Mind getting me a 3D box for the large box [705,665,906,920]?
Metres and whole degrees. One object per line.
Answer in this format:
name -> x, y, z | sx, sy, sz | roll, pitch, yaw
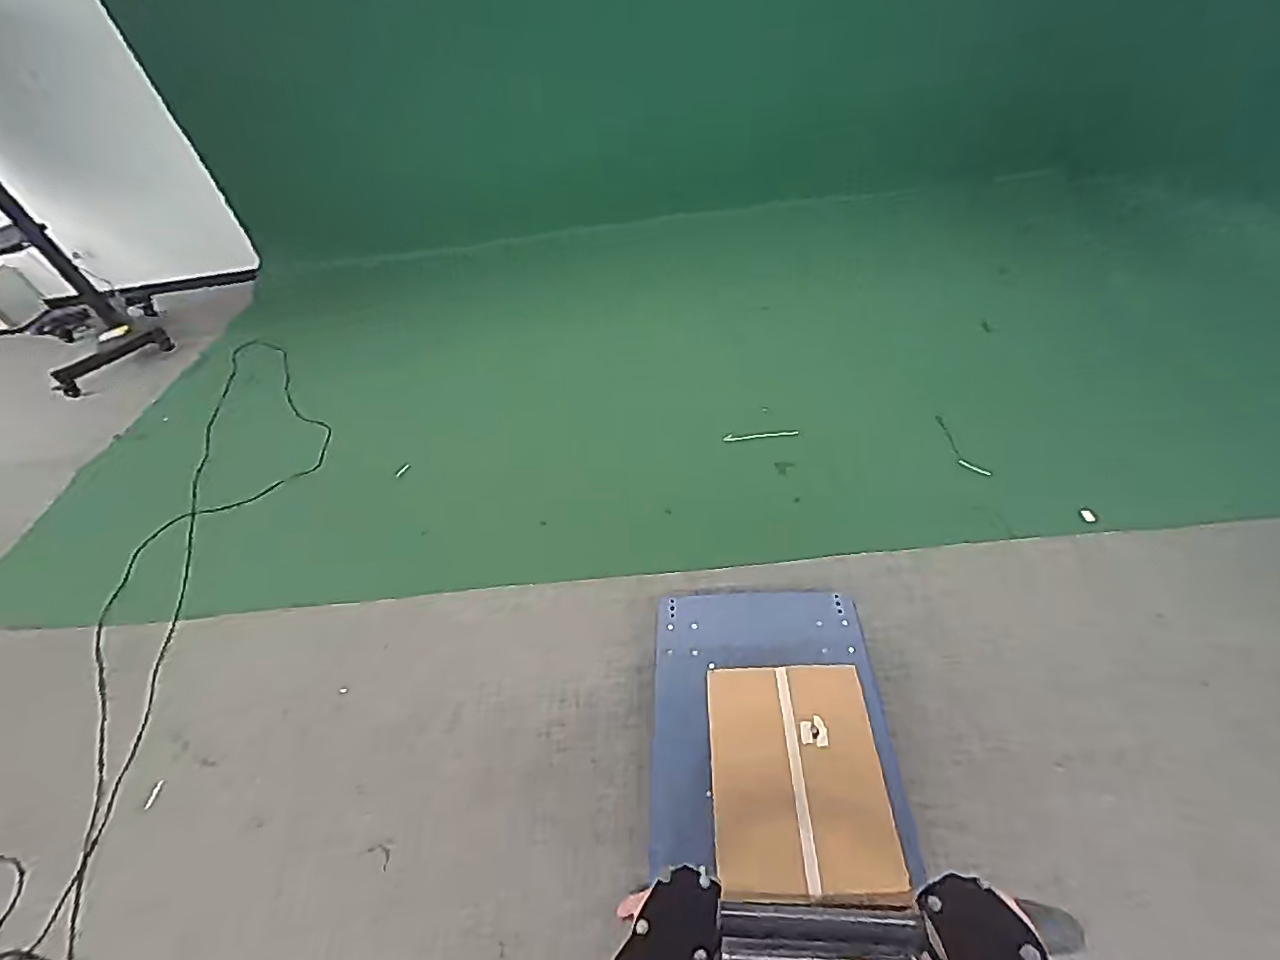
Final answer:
large box -> 0.310, 0.652, 1.135 | 0.320, 0.320, 0.408 | -4, 45, 7
